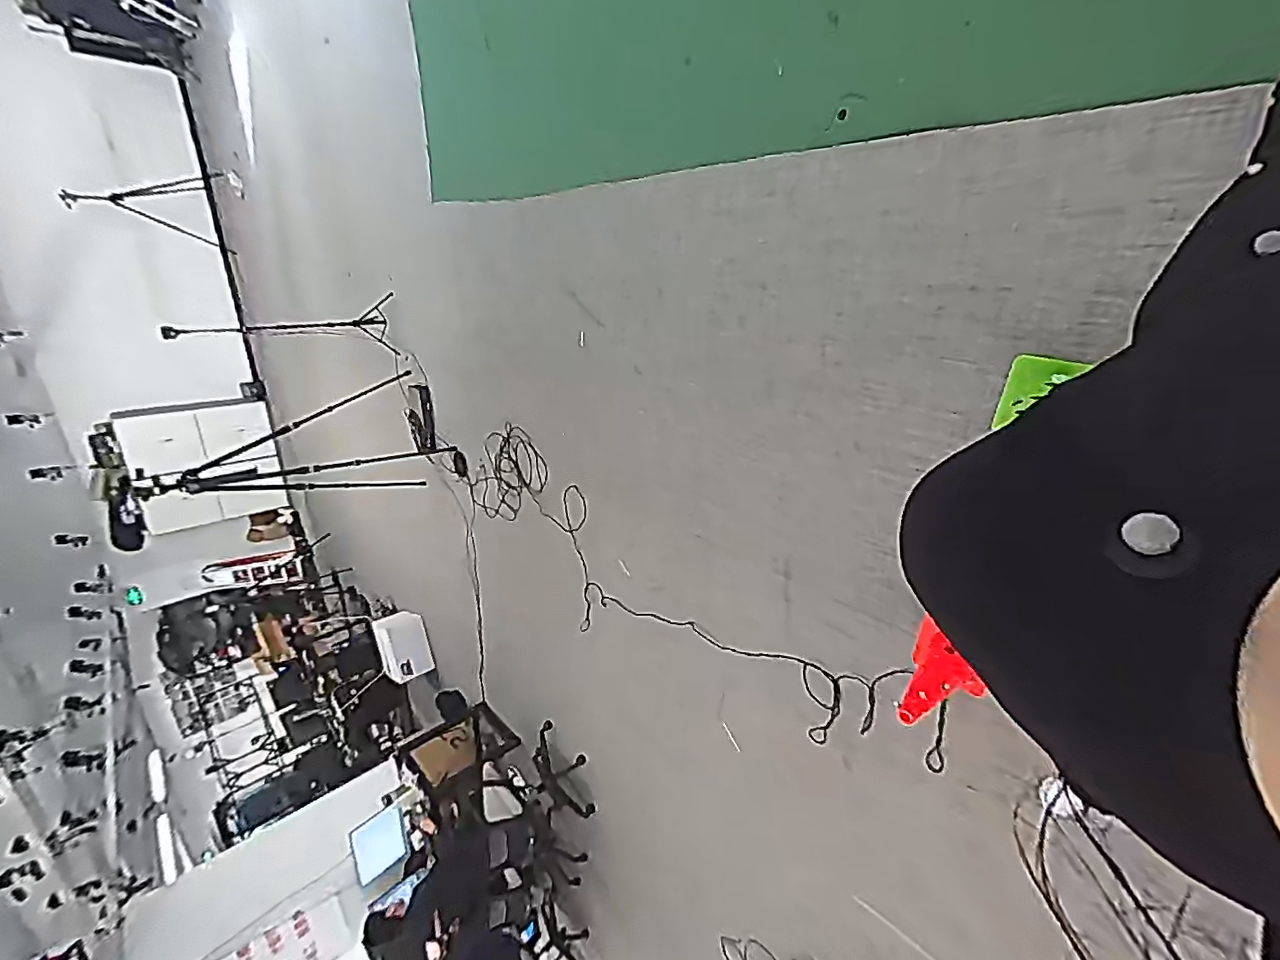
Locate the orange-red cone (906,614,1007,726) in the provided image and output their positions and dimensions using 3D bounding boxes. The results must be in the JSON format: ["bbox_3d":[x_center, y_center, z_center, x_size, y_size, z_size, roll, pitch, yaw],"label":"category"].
[{"bbox_3d":[0.782,0.534,1.418,0.198,0.360,0.199,26,121,39],"label":"orange-red cone"}]

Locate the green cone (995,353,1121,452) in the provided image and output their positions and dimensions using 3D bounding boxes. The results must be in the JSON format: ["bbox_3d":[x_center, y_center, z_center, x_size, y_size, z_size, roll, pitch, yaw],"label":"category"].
[{"bbox_3d":[0.816,-0.134,1.122,0.200,0.368,0.202,24,122,42],"label":"green cone"}]
